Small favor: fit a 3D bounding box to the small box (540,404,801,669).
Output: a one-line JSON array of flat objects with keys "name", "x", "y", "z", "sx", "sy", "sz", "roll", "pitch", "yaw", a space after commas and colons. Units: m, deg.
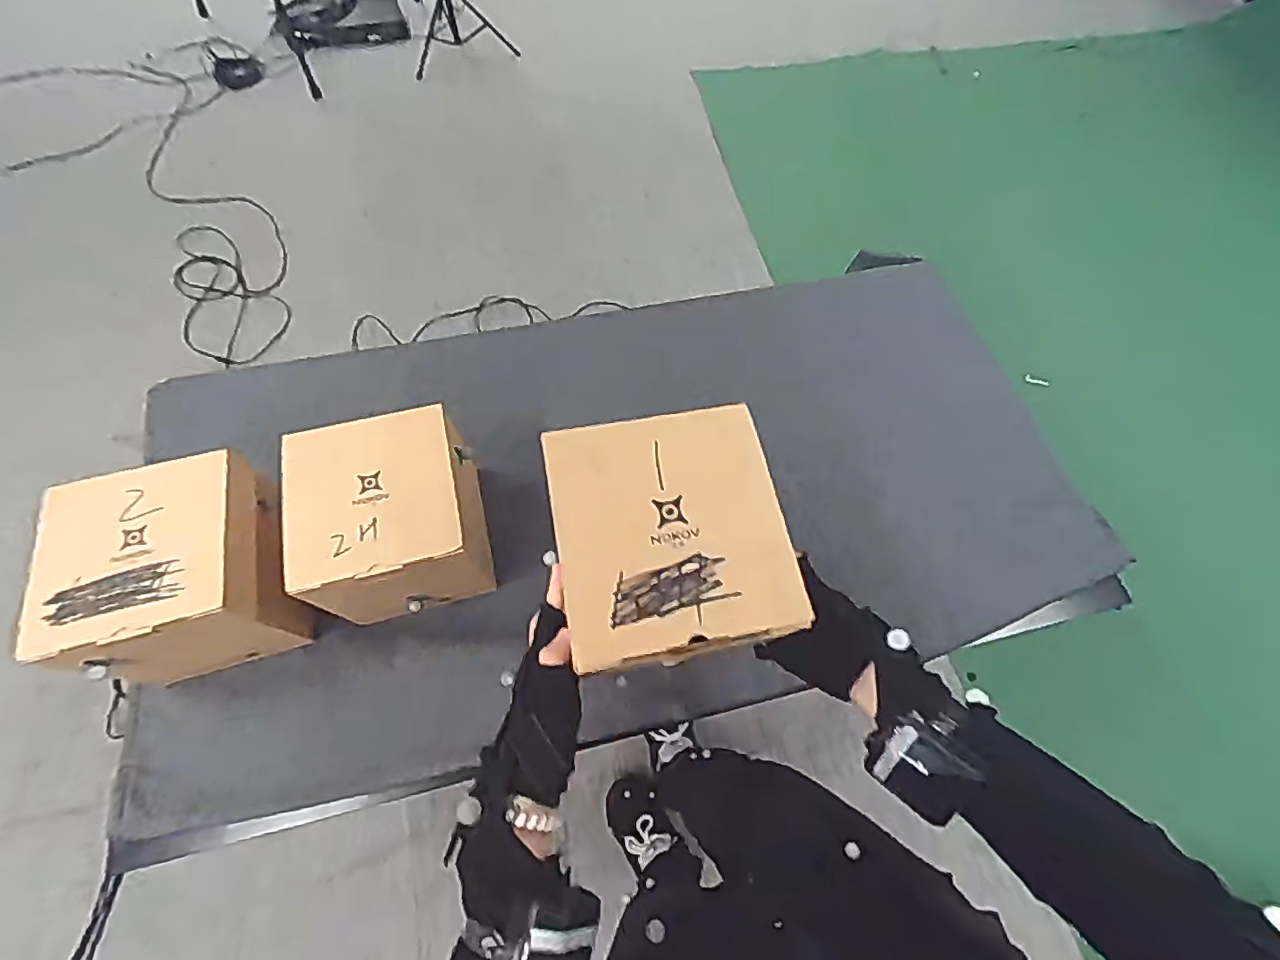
[{"name": "small box", "x": 0.014, "y": 0.060, "z": 0.466, "sx": 0.168, "sy": 0.176, "sz": 0.179, "roll": -9, "pitch": 68, "yaw": -7}]
